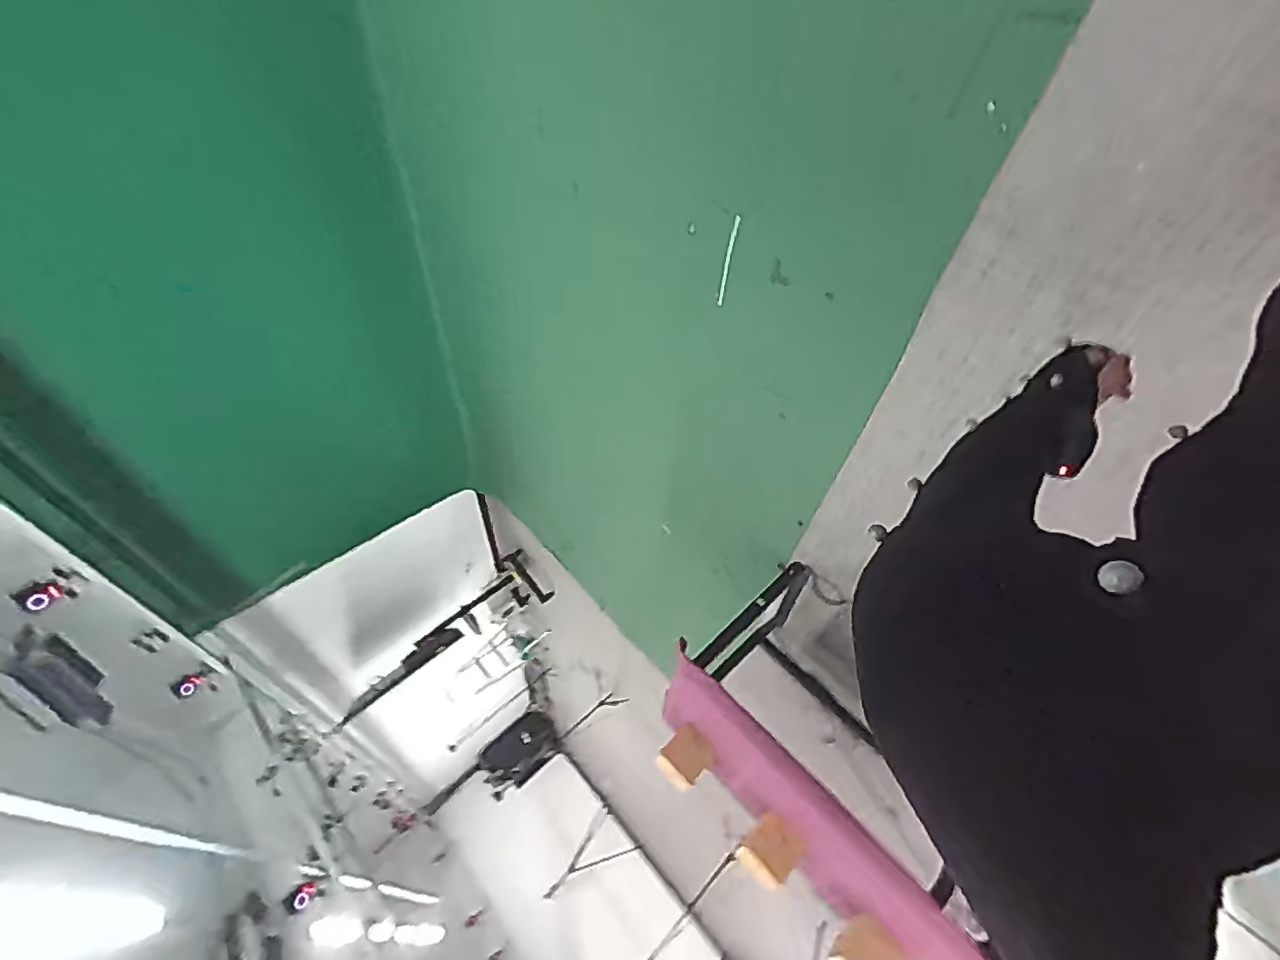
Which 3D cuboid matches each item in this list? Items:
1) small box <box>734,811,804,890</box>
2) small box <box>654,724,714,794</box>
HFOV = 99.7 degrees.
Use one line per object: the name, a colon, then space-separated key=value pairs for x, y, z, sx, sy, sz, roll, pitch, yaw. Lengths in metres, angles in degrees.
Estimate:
small box: x=0.477 y=1.365 z=1.995 sx=0.168 sy=0.176 sz=0.179 roll=41 pitch=146 yaw=25
small box: x=0.178 y=1.130 z=2.194 sx=0.168 sy=0.176 sz=0.179 roll=39 pitch=146 yaw=23
